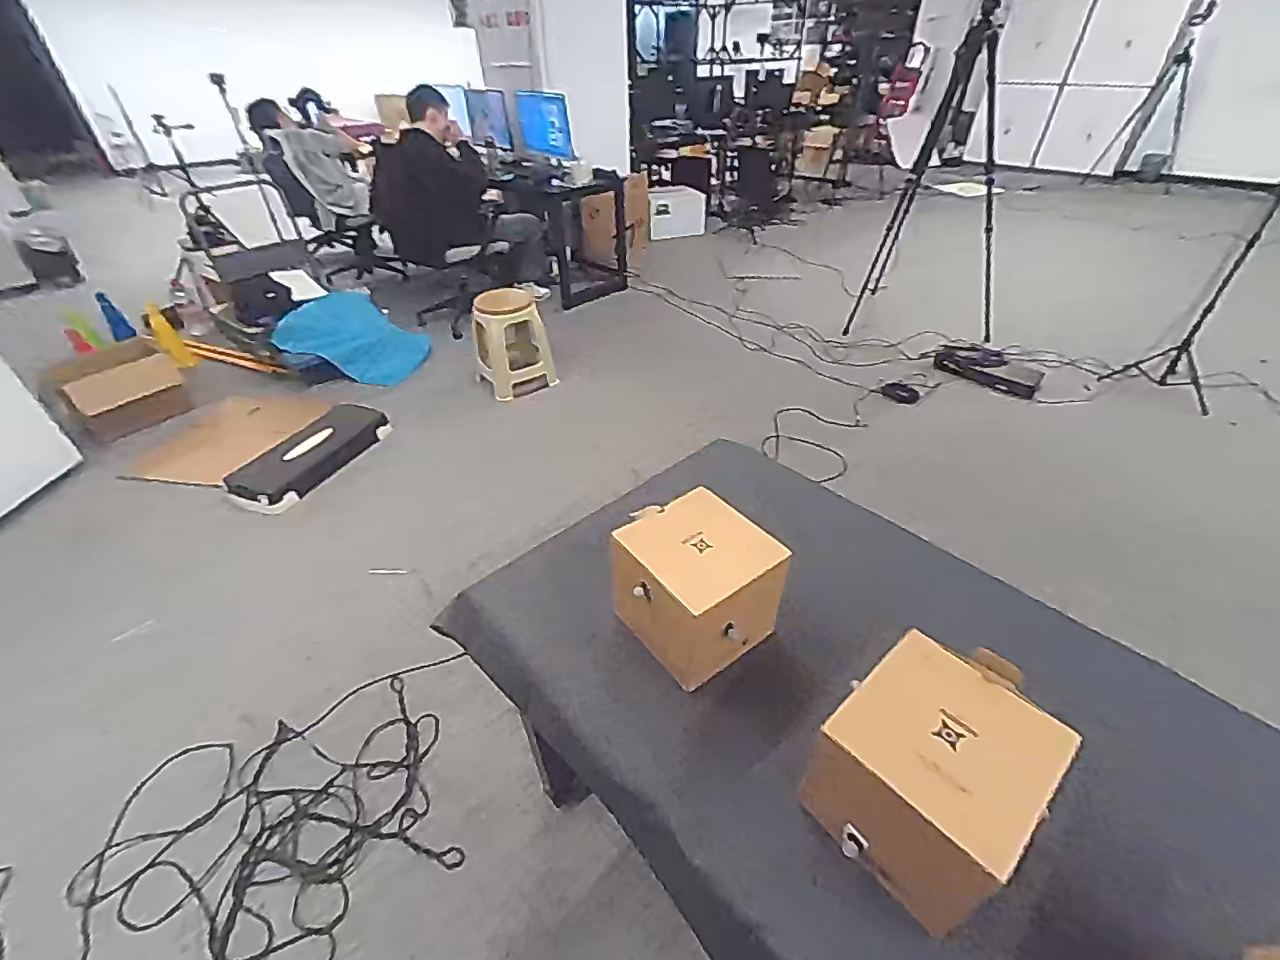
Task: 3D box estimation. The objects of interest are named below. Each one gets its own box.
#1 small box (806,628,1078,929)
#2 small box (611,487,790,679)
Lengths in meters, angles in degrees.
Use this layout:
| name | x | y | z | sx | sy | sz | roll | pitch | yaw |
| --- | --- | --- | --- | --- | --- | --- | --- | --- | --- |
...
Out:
| name | x | y | z | sx | sy | sz | roll | pitch | yaw |
| --- | --- | --- | --- | --- | --- | --- | --- | --- | --- |
| small box | 0.292 | 0.297 | 0.554 | 0.179 | 0.176 | 0.168 | -30 | 45 | -31 |
| small box | 0.078 | 0.145 | 0.750 | 0.168 | 0.176 | 0.179 | -25 | 44 | -28 |
